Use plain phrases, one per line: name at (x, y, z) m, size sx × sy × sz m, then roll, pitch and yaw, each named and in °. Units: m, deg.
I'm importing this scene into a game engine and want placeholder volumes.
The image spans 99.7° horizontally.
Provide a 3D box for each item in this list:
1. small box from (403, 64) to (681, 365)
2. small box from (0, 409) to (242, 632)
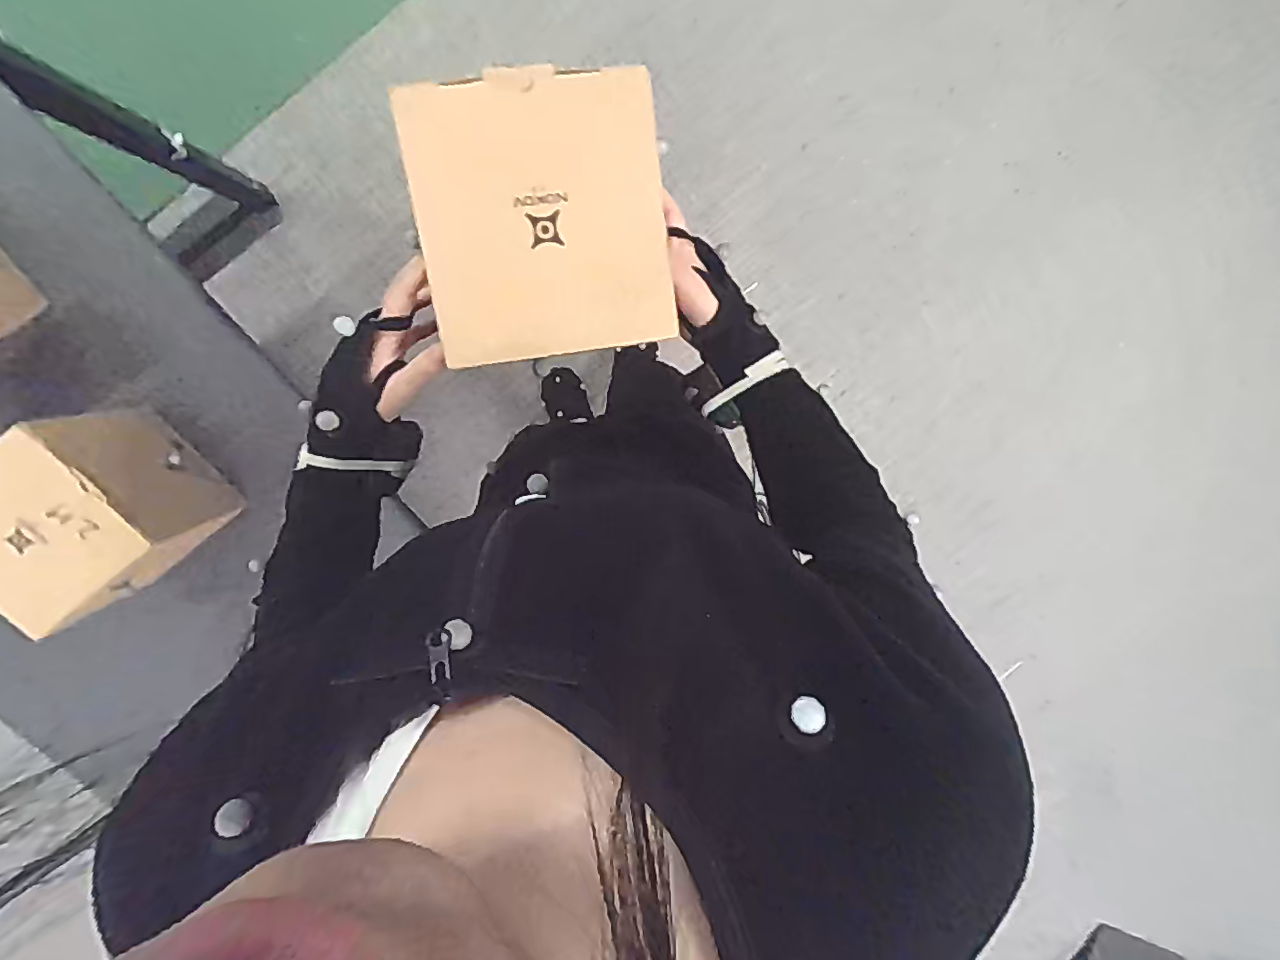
small box at (-0.068, -0.193, 0.442) m, size 0.168 × 0.176 × 0.179 m, roll -9°, pitch 103°, yaw -6°
small box at (-0.633, 0.036, 0.636) m, size 0.179 × 0.176 × 0.168 m, roll -38°, pitch 104°, yaw 4°
